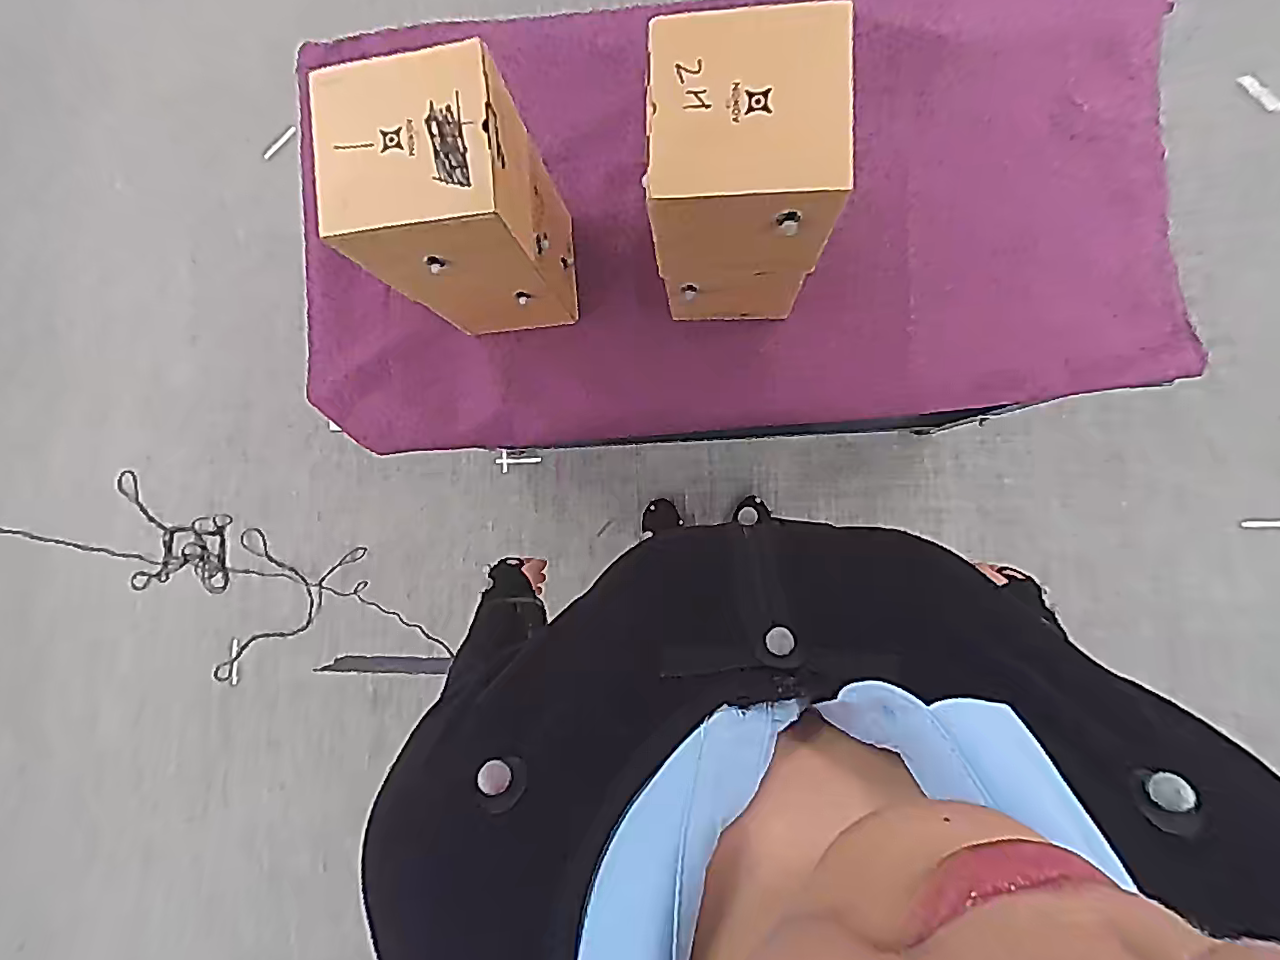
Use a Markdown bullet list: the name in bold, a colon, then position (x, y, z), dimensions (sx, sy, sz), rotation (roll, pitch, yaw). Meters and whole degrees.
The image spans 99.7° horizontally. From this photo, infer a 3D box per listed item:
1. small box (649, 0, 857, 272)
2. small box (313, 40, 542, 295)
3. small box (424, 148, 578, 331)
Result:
- **small box**: position (0.104, -0.323, 0.544), dimensions (0.179, 0.176, 0.168), rotation (1, 88, 7)
- **small box**: position (-0.210, -0.315, 0.582), dimensions (0.179, 0.176, 0.168), rotation (-5, 88, 6)
- **small box**: position (-0.194, -0.315, 0.746), dimensions (0.179, 0.176, 0.168), rotation (-5, 88, 6)
